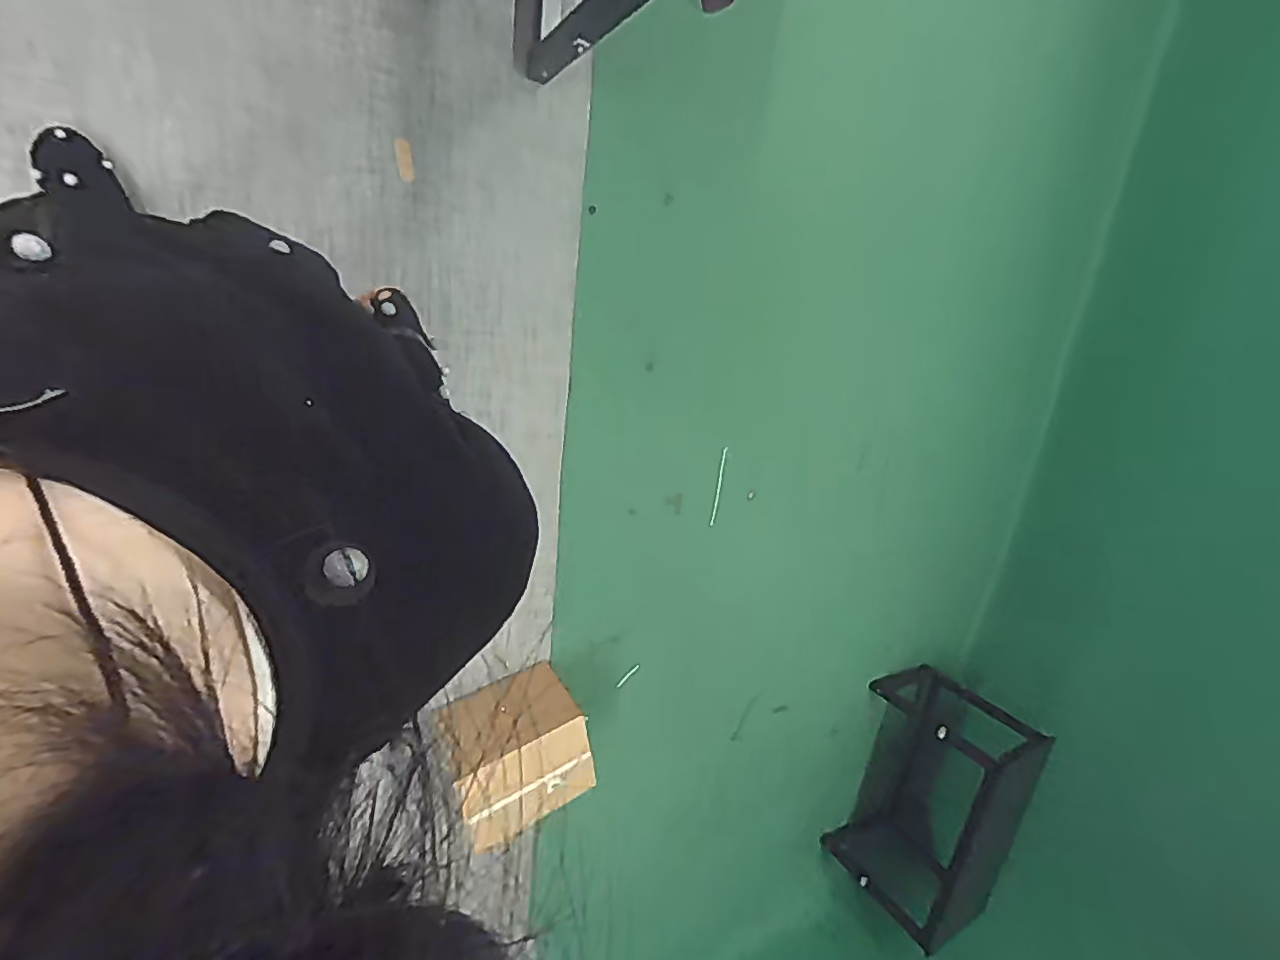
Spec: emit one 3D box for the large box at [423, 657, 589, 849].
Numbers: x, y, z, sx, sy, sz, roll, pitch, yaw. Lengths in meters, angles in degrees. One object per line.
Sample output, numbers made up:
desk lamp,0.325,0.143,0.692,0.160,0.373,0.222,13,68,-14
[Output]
large box,-0.426,0.848,1.733,0.408,0.320,0.320,-19,118,-28
